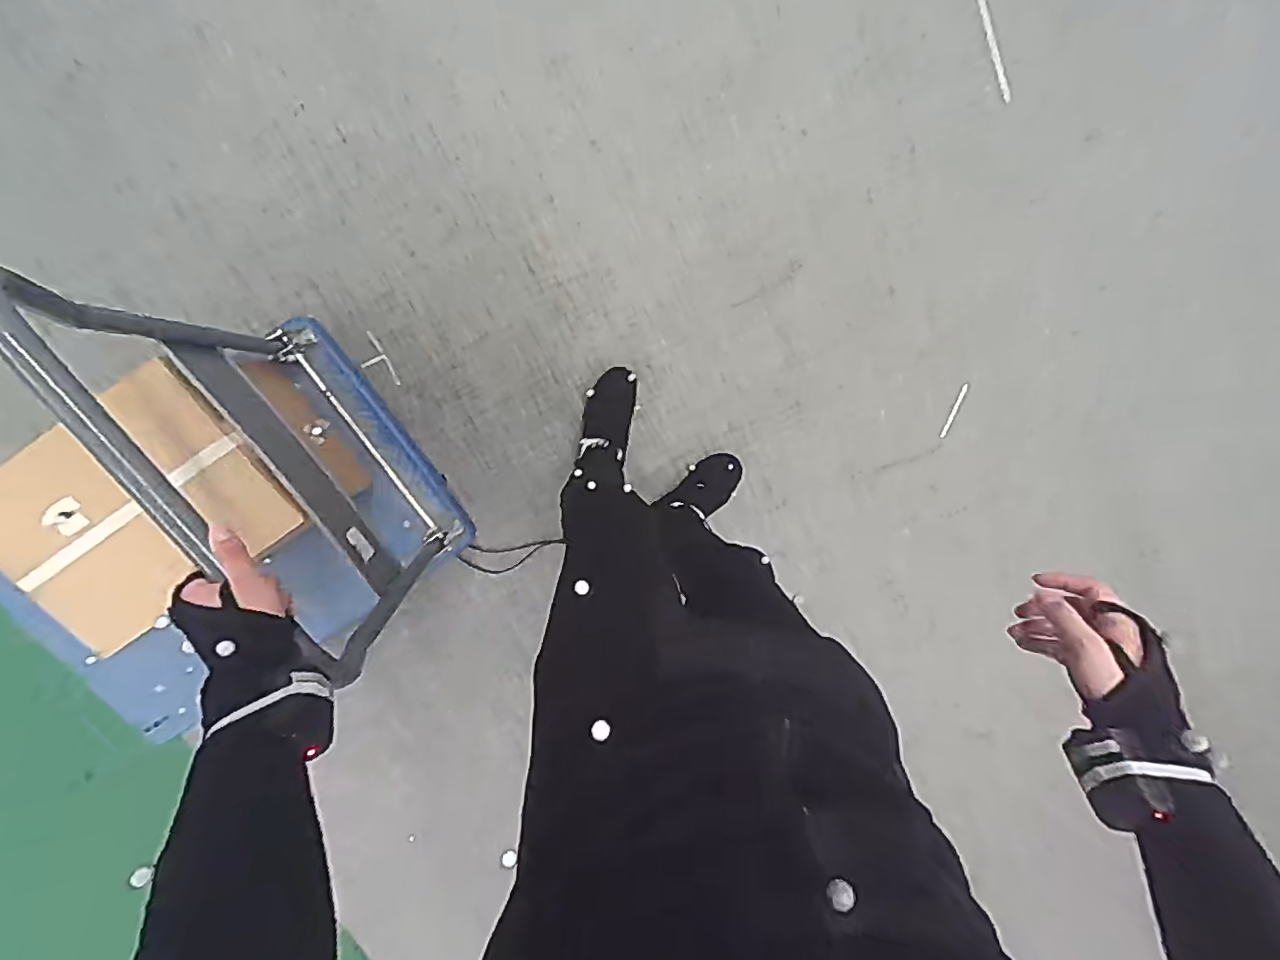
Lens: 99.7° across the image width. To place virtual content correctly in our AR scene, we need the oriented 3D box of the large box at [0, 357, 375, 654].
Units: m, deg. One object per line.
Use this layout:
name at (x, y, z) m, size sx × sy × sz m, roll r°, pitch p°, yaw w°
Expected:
large box at (-0.784, 0.018, 0.975) m, size 0.408 × 0.320 × 0.320 m, roll -34°, pitch 103°, yaw 2°
